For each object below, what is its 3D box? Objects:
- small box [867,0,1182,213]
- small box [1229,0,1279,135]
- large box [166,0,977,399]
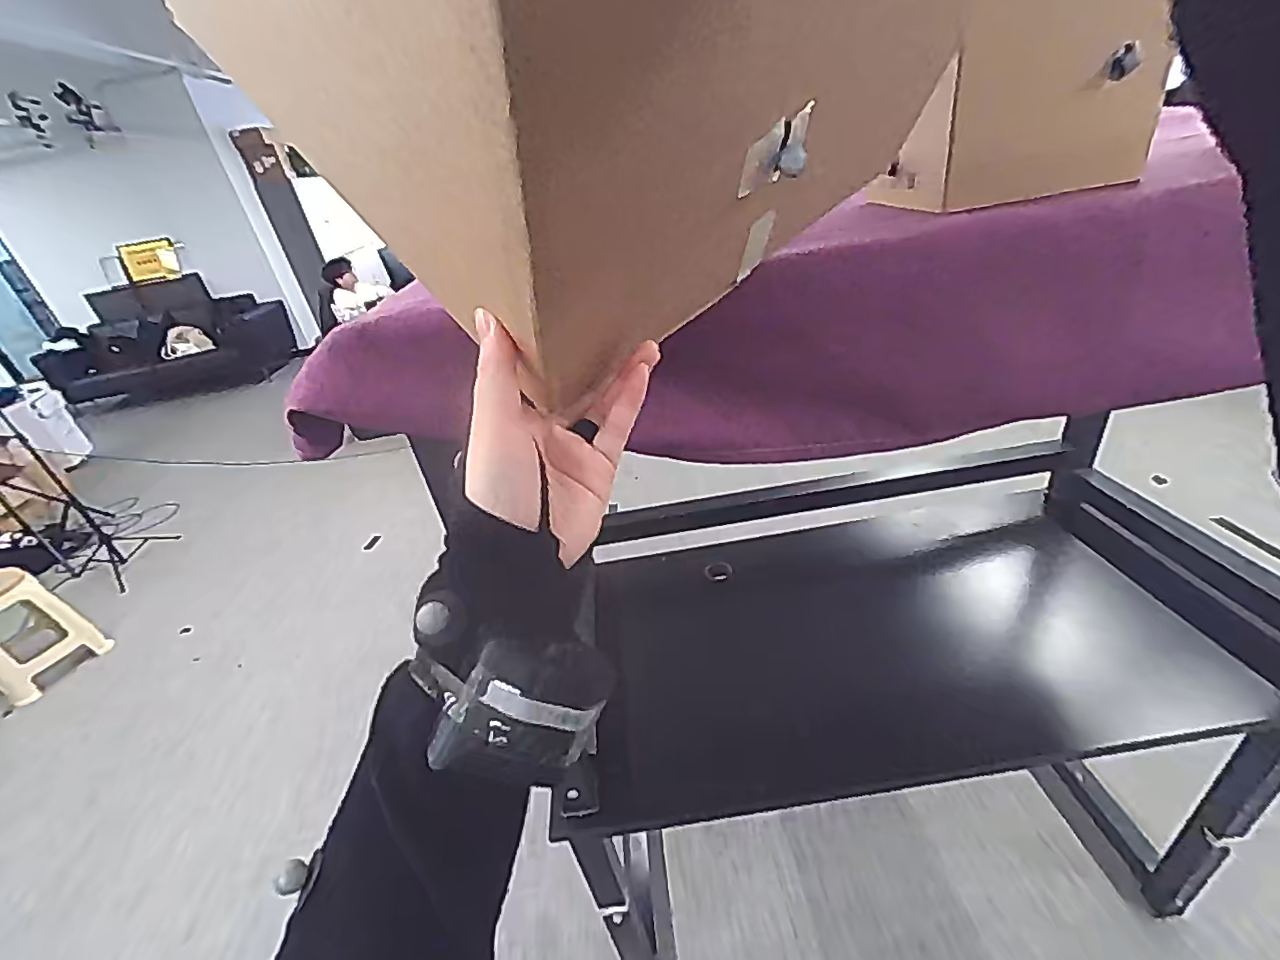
[{"bbox_3d":[0.327,-0.355,0.494,0.179,0.176,0.168,-10,30,2],"label":"small box"},{"bbox_3d":[0.688,-0.407,0.463,0.179,0.176,0.168,-11,29,-1],"label":"small box"},{"bbox_3d":[-0.058,-0.318,0.241,0.320,0.320,0.408,-40,74,-19],"label":"large box"}]
